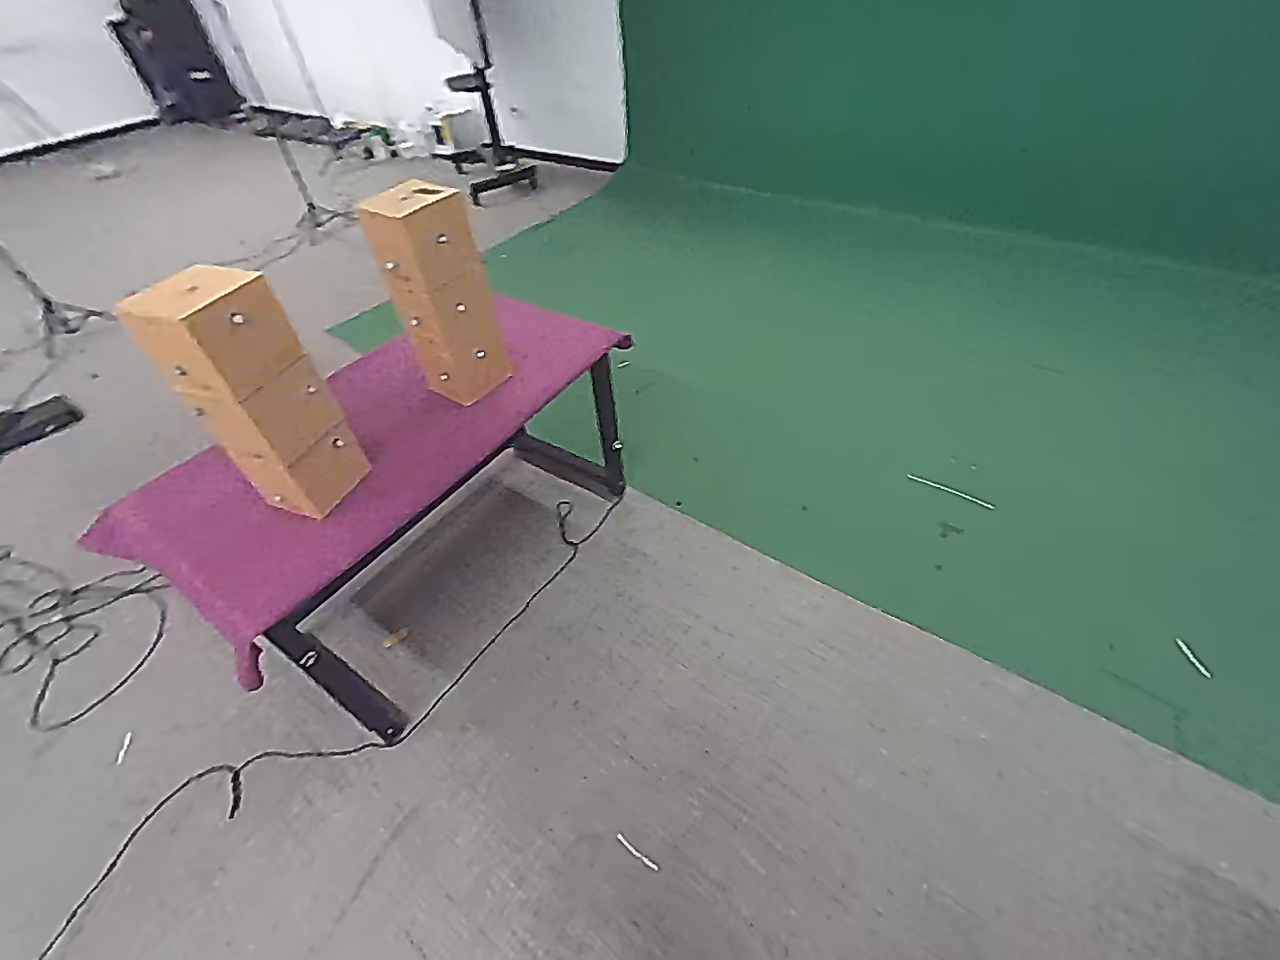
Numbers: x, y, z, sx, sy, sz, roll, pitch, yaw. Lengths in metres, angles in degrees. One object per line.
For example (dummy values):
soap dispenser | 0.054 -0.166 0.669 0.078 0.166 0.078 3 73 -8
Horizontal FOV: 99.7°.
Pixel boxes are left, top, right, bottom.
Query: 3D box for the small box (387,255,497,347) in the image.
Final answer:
small box | -0.486 -0.461 1.357 0.168 0.176 0.179 26 55 25

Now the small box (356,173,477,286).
small box | -0.497 -0.574 1.237 0.168 0.176 0.179 25 55 25

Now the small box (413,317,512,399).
small box | -0.475 -0.349 1.475 0.168 0.176 0.179 27 55 26

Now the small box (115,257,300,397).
small box | -0.763 -0.279 0.984 0.168 0.176 0.179 13 49 15

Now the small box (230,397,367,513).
small box | -0.754 -0.057 1.223 0.168 0.176 0.179 14 50 17
